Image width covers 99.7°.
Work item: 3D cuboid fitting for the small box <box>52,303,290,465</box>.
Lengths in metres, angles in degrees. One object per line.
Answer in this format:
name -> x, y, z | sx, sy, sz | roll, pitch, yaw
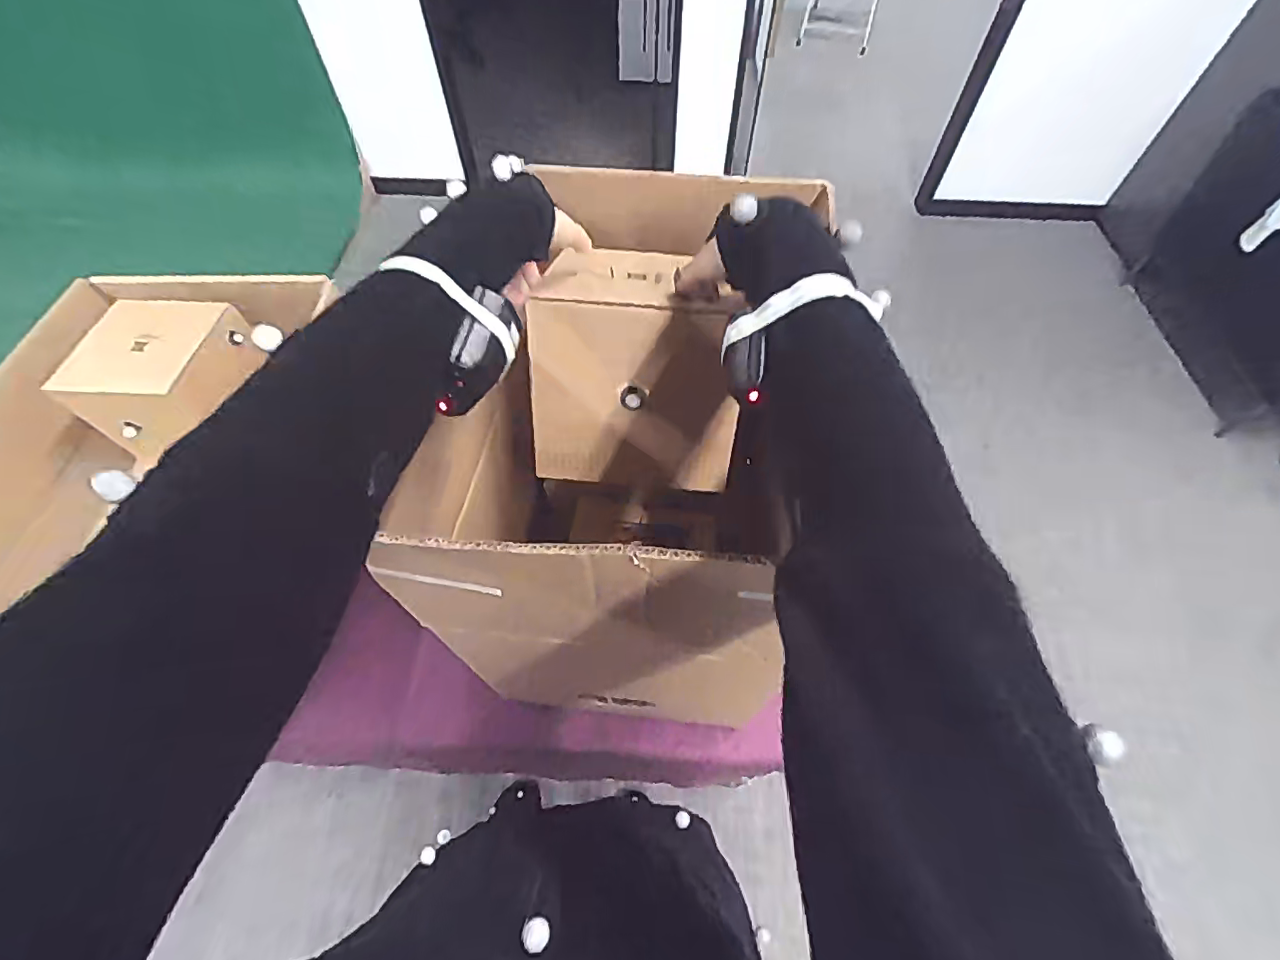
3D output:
small box -> -0.661, -0.136, 0.793 | 0.168, 0.176, 0.179 | 2, 57, 2
